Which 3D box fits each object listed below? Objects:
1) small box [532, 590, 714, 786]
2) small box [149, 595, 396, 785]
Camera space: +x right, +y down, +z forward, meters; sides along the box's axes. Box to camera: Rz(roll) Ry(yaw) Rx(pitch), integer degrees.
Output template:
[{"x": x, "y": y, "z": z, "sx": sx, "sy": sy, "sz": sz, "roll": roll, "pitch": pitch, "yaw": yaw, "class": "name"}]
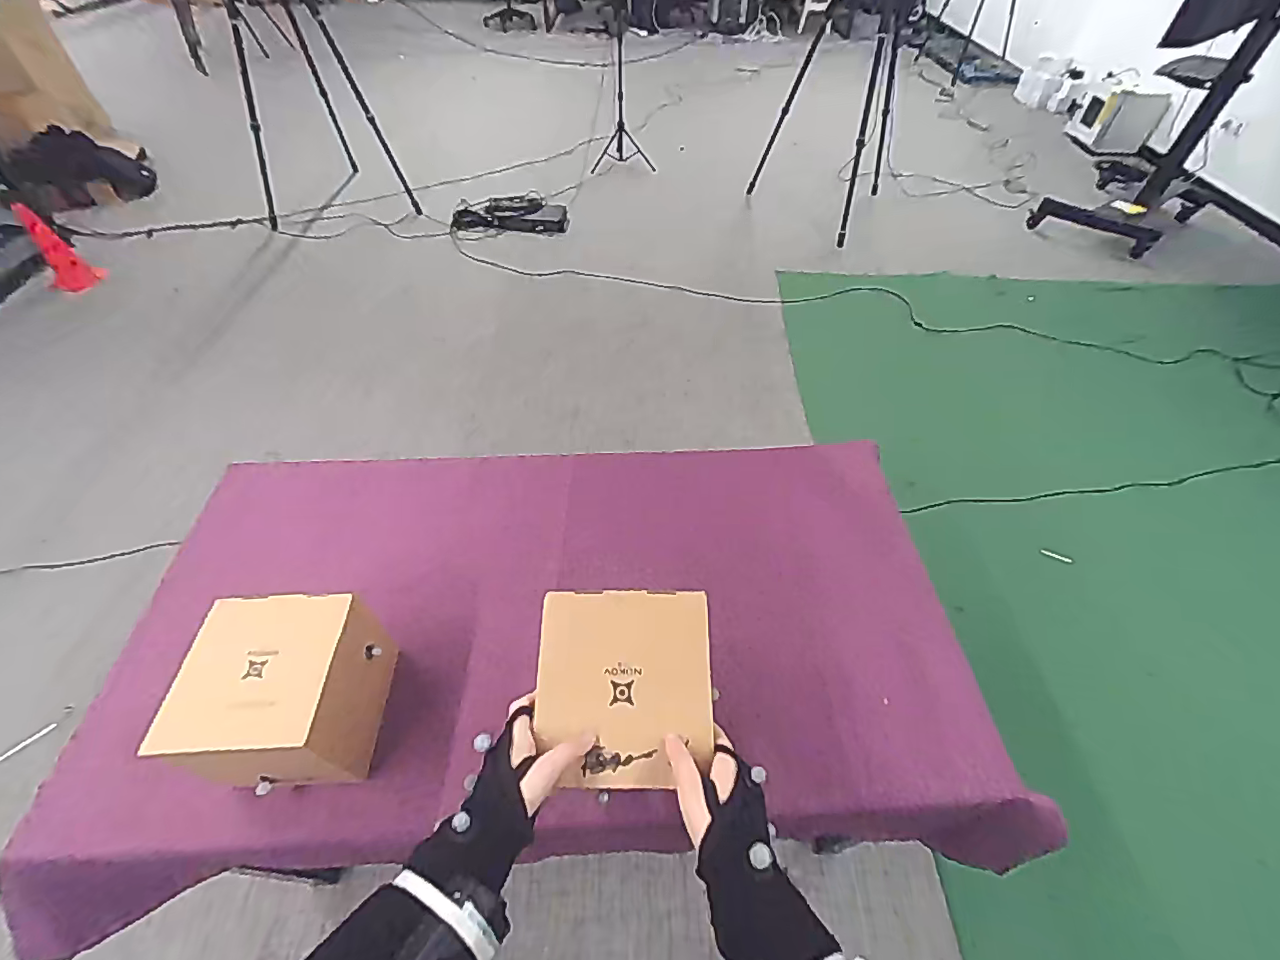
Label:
[{"x": -0.011, "y": 0.227, "z": 0.585, "sx": 0.168, "sy": 0.176, "sz": 0.179, "roll": -1, "pitch": 64, "yaw": 3, "class": "small box"}, {"x": -0.422, "y": 0.258, "z": 0.664, "sx": 0.168, "sy": 0.176, "sz": 0.179, "roll": -1, "pitch": 51, "yaw": -1, "class": "small box"}]
